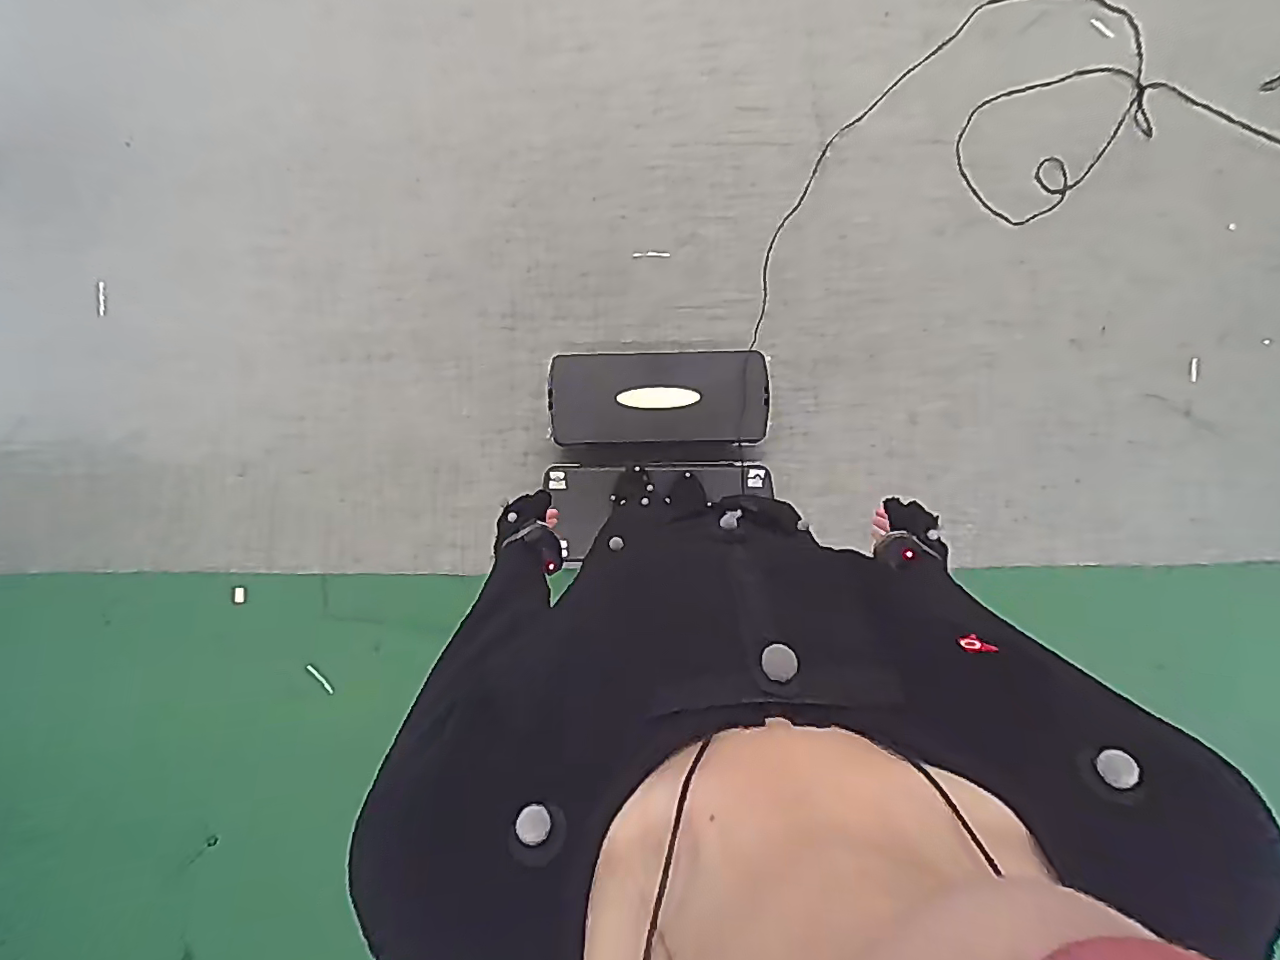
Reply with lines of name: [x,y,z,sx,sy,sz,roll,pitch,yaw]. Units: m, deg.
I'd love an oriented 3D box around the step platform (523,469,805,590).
step platform: [0.058,0.120,1.394,0.684,0.204,0.286,-1,90,0]
